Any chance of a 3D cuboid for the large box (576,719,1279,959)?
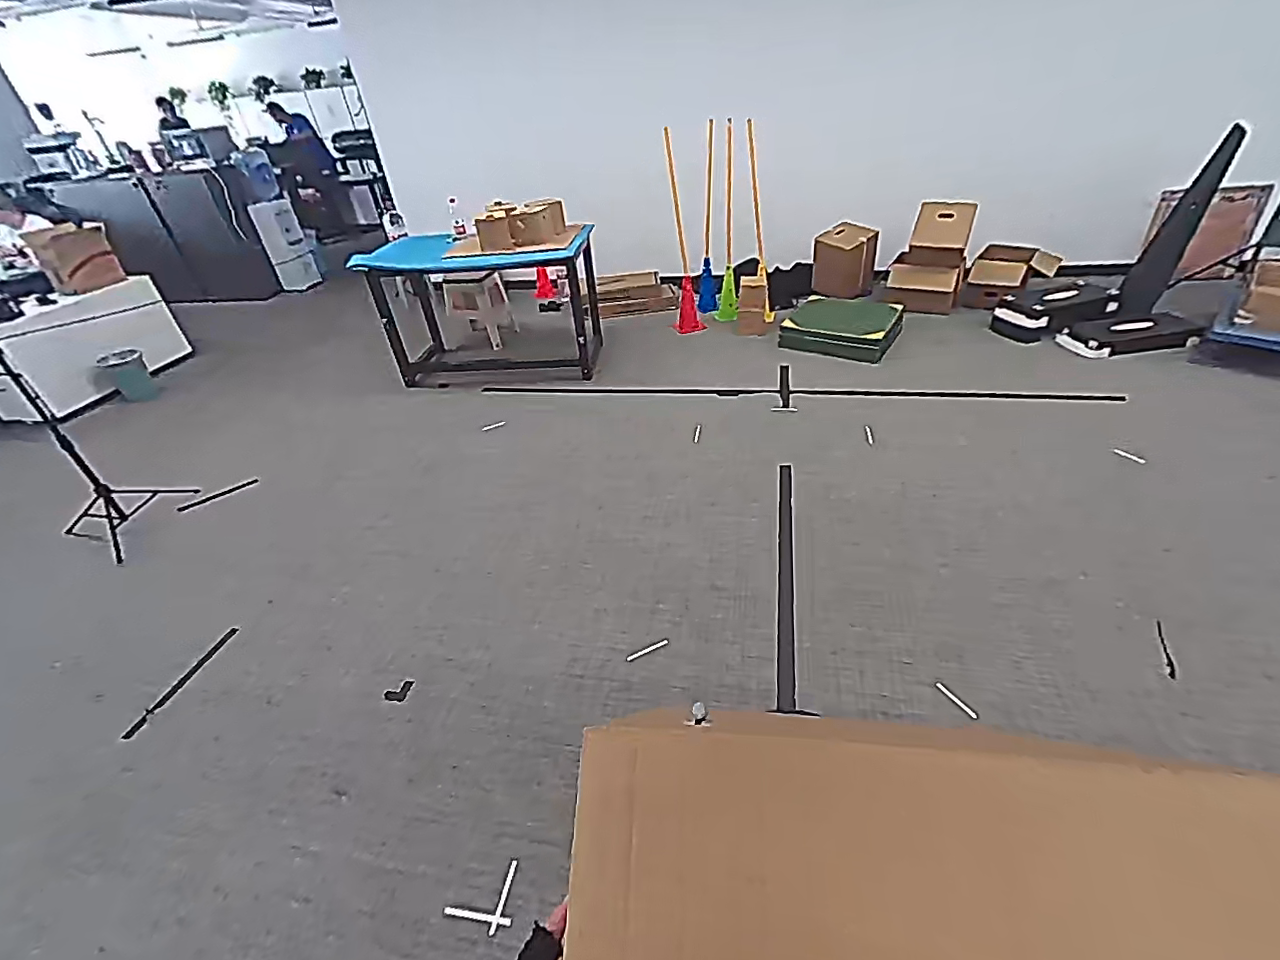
[{"bbox_3d":[0.182,0.363,0.410,0.408,0.320,0.320,-1,70,12],"label":"large box"}]
